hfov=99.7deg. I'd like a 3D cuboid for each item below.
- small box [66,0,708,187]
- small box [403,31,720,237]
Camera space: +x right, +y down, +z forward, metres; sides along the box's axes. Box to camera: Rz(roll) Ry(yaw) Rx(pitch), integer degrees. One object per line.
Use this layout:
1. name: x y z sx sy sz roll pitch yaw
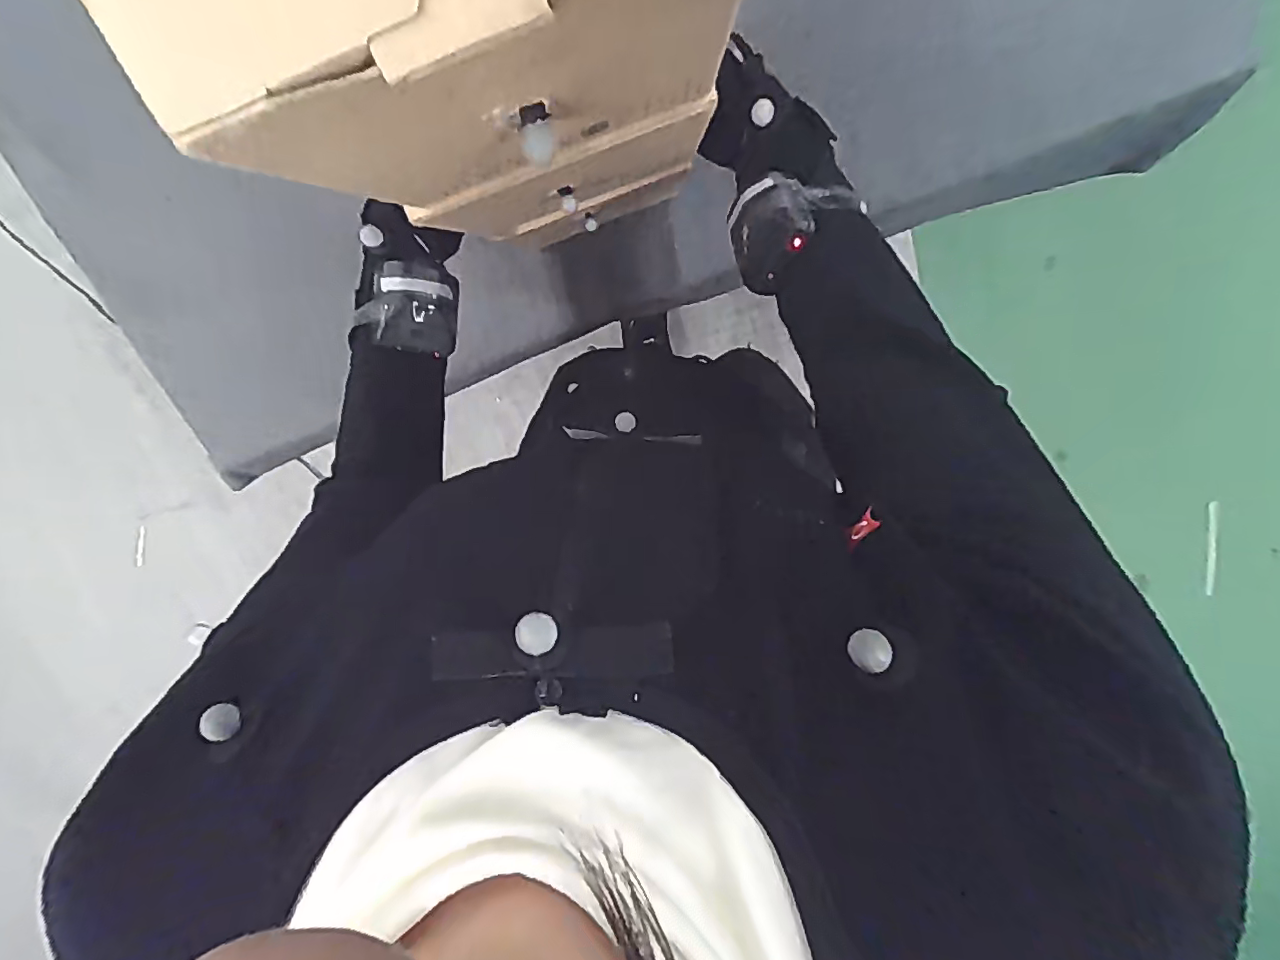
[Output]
1. small box: -0.074 -0.214 0.176 0.168 0.176 0.179 -17 111 8
2. small box: -0.068 -0.265 0.333 0.179 0.176 0.168 -20 111 8
